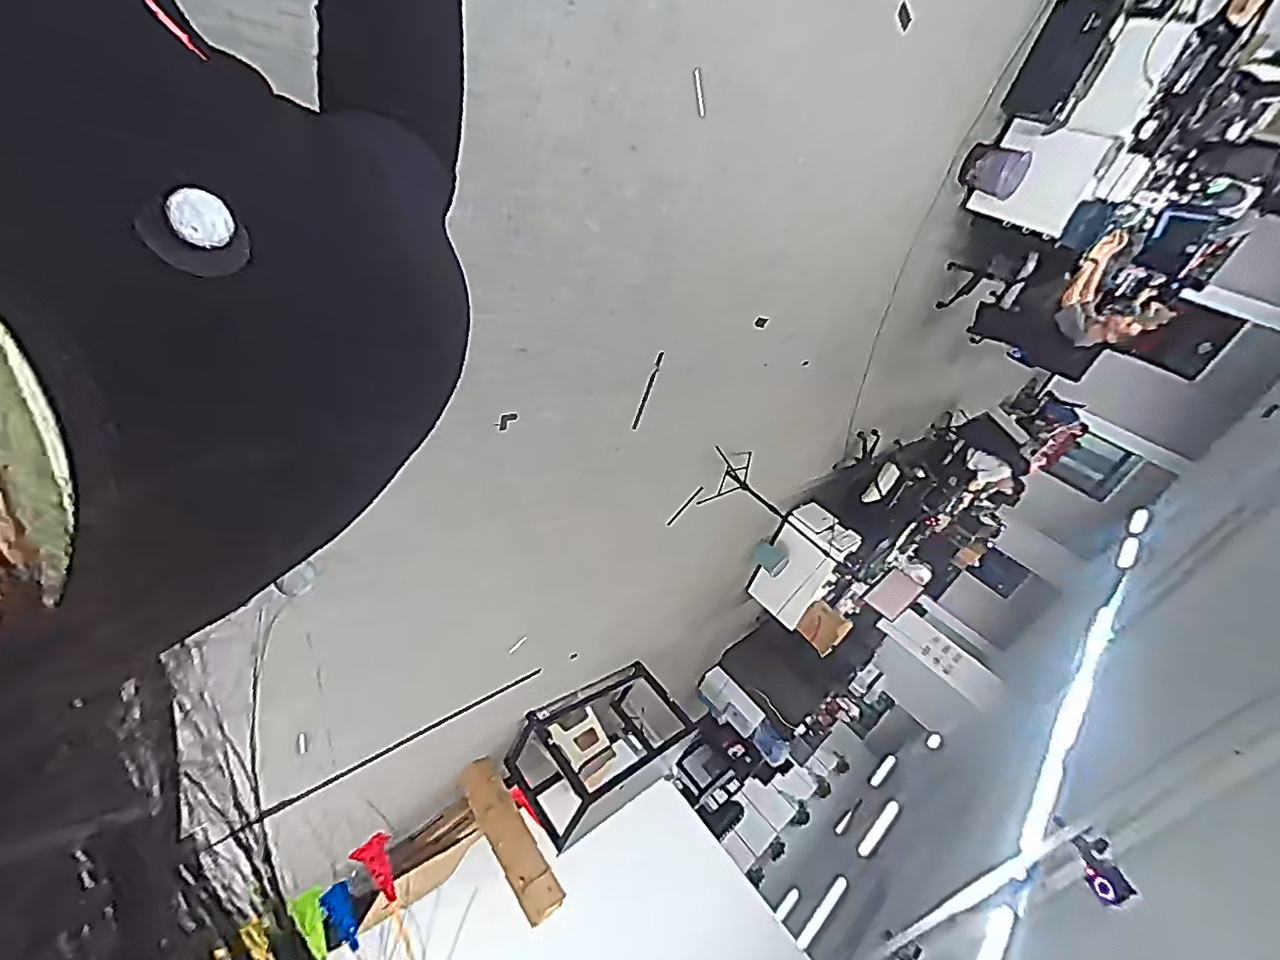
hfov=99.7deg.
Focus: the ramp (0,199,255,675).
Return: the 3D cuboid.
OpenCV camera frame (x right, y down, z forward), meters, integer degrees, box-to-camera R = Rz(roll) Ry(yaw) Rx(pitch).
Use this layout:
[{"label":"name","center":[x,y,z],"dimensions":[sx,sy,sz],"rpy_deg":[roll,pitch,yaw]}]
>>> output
[{"label":"ramp","center":[-1.192,-0.052,1.167],"dimensions":[0.509,0.206,0.991],"rpy_deg":[-16,136,-41]}]
